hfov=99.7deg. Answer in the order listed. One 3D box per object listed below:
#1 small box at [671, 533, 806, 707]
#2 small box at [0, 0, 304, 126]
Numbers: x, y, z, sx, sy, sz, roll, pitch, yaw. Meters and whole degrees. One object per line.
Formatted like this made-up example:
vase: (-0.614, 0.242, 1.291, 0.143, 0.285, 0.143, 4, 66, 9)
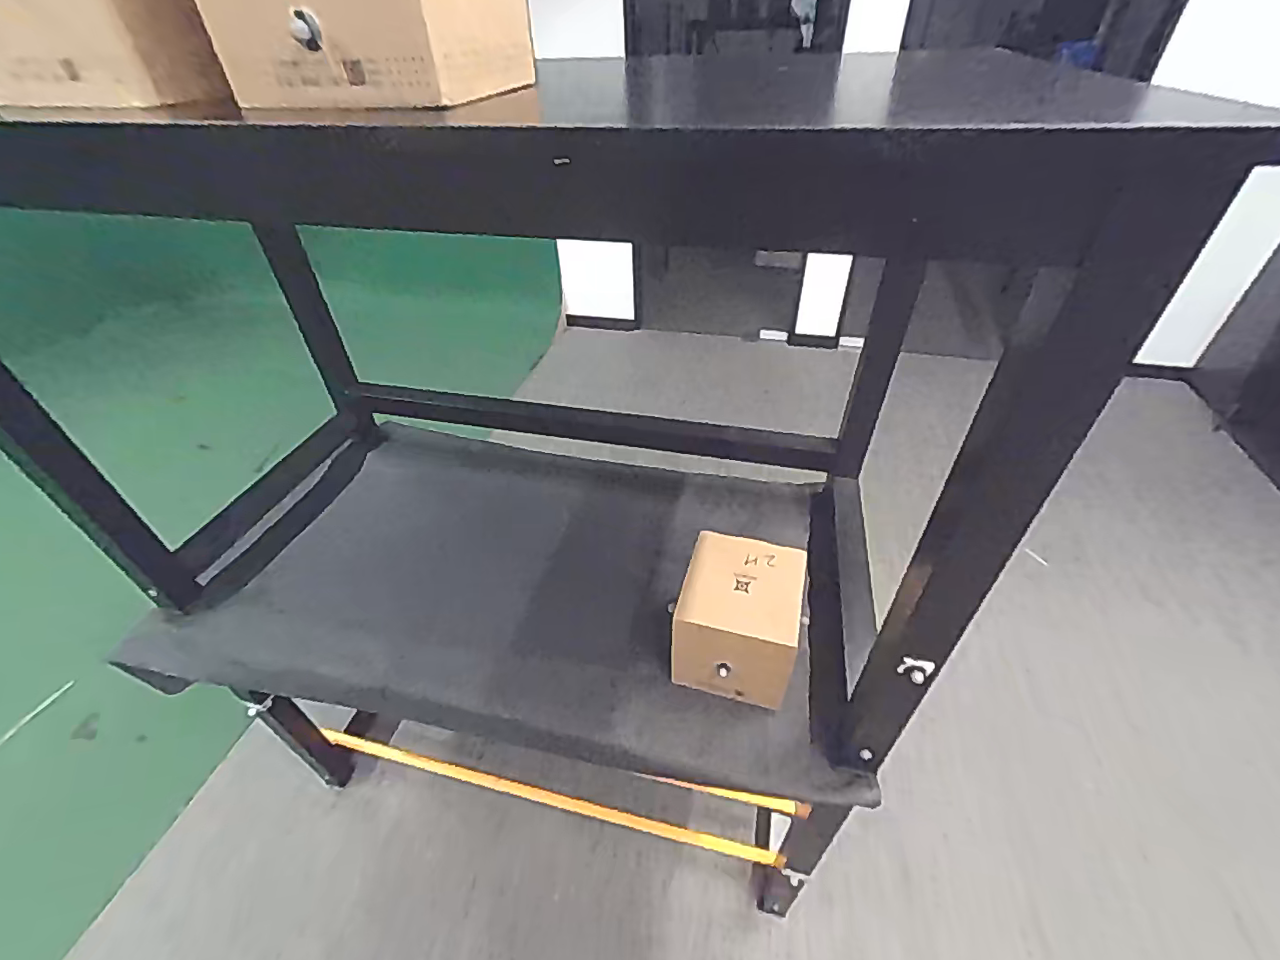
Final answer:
small box: (0.148, 0.212, 0.820, 0.168, 0.176, 0.179, 11, 41, 14)
small box: (-0.425, -0.399, 0.442, 0.168, 0.176, 0.179, 9, 41, 13)
